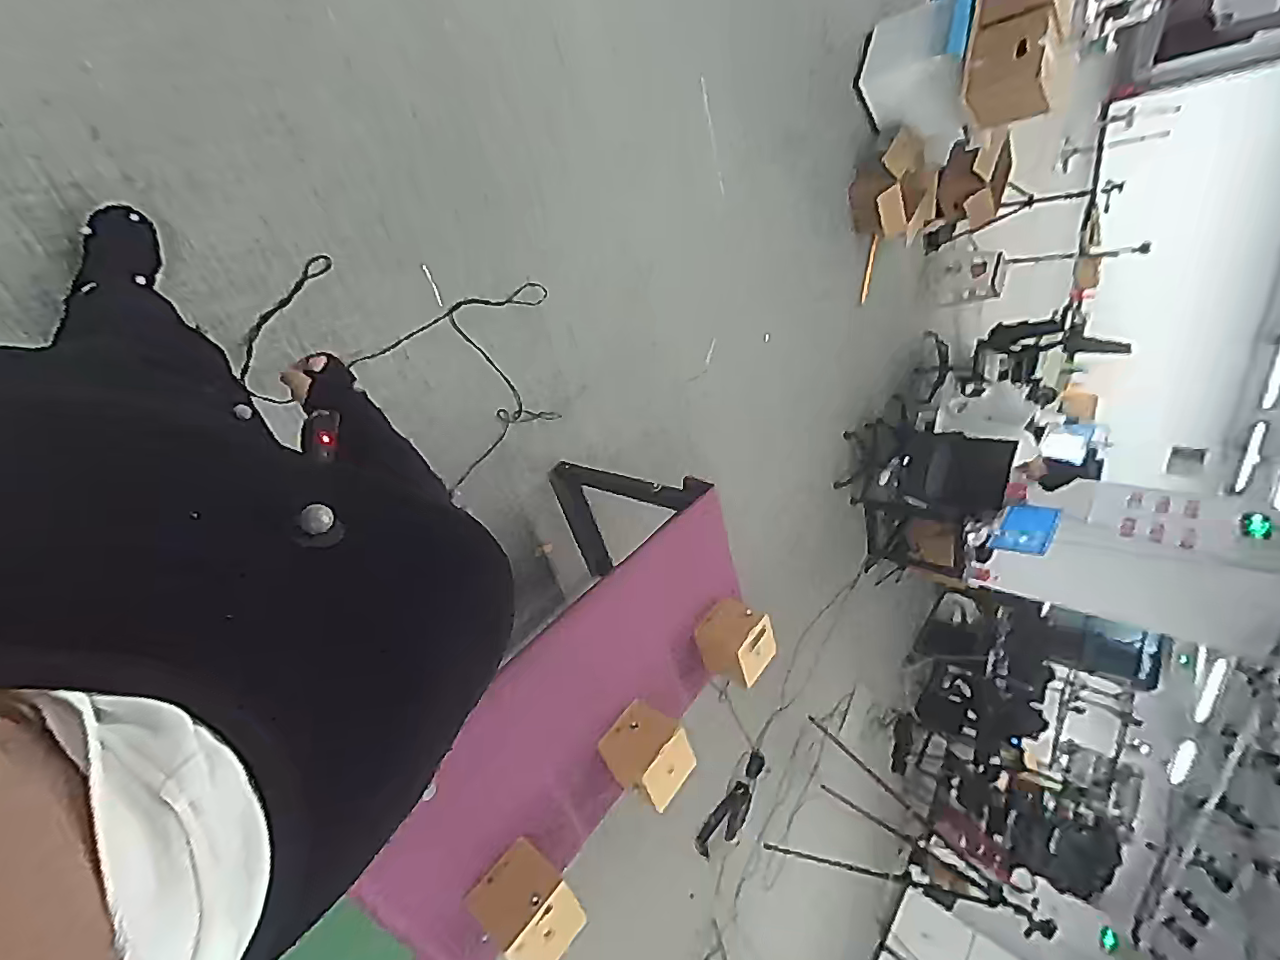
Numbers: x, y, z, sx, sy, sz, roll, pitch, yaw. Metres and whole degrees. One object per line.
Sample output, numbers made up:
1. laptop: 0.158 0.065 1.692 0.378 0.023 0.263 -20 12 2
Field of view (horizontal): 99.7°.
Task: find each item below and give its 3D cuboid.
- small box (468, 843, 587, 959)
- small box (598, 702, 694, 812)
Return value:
1. small box: -0.252 0.968 1.214 0.168 0.176 0.179 -38 124 -37
2. small box: 0.017 0.737 1.456 0.168 0.176 0.179 -41 126 -33
